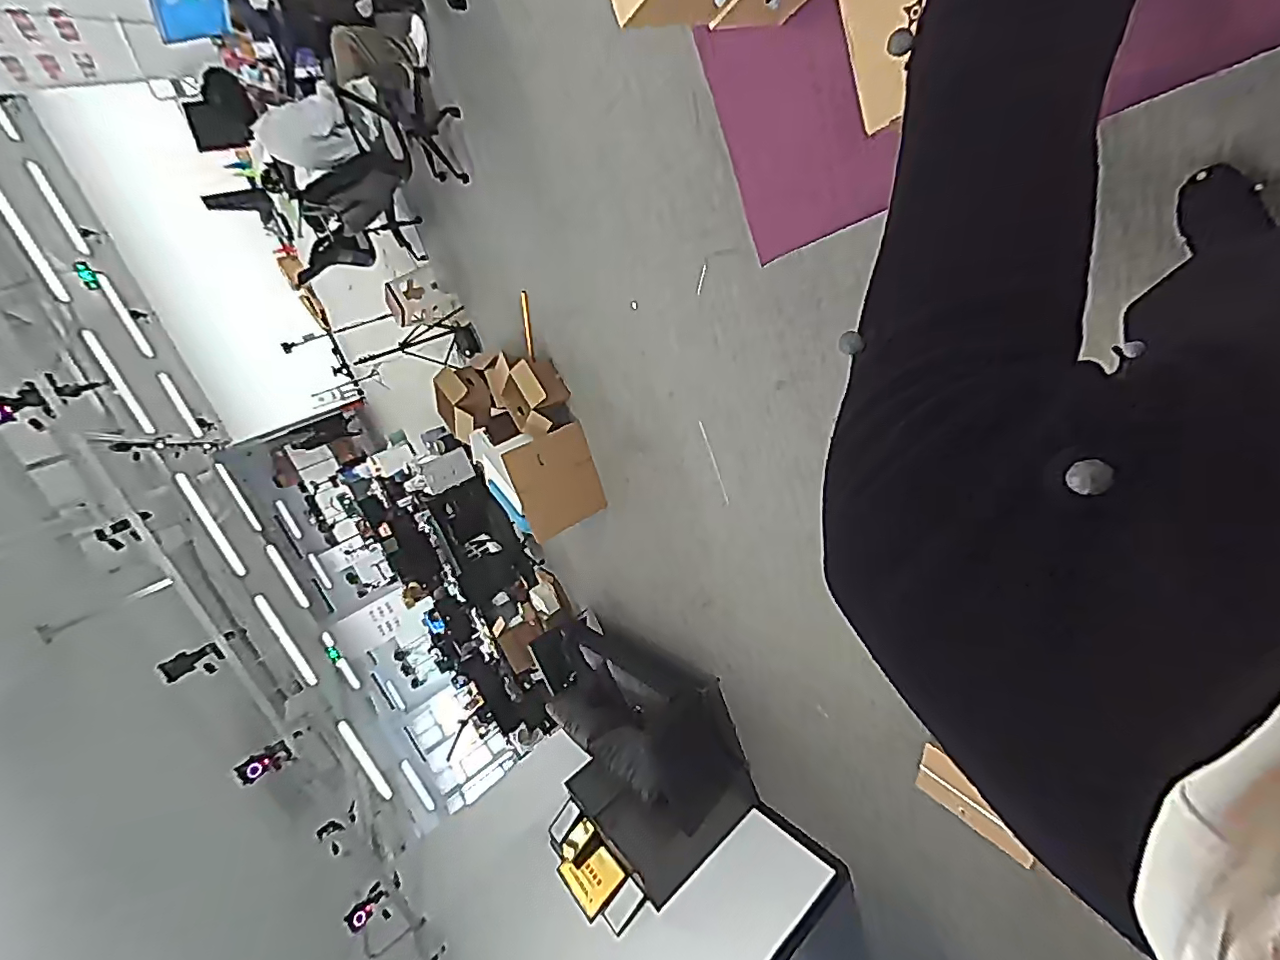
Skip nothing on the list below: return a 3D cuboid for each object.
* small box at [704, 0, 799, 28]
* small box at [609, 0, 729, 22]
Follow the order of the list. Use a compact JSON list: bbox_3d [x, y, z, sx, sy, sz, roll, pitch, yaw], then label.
[{"bbox_3d":[0.176,-0.772,0.739,0.168,0.176,0.179,3,117,58],"label":"small box"},{"bbox_3d":[0.052,-0.702,0.655,0.168,0.176,0.179,9,124,56],"label":"small box"}]
